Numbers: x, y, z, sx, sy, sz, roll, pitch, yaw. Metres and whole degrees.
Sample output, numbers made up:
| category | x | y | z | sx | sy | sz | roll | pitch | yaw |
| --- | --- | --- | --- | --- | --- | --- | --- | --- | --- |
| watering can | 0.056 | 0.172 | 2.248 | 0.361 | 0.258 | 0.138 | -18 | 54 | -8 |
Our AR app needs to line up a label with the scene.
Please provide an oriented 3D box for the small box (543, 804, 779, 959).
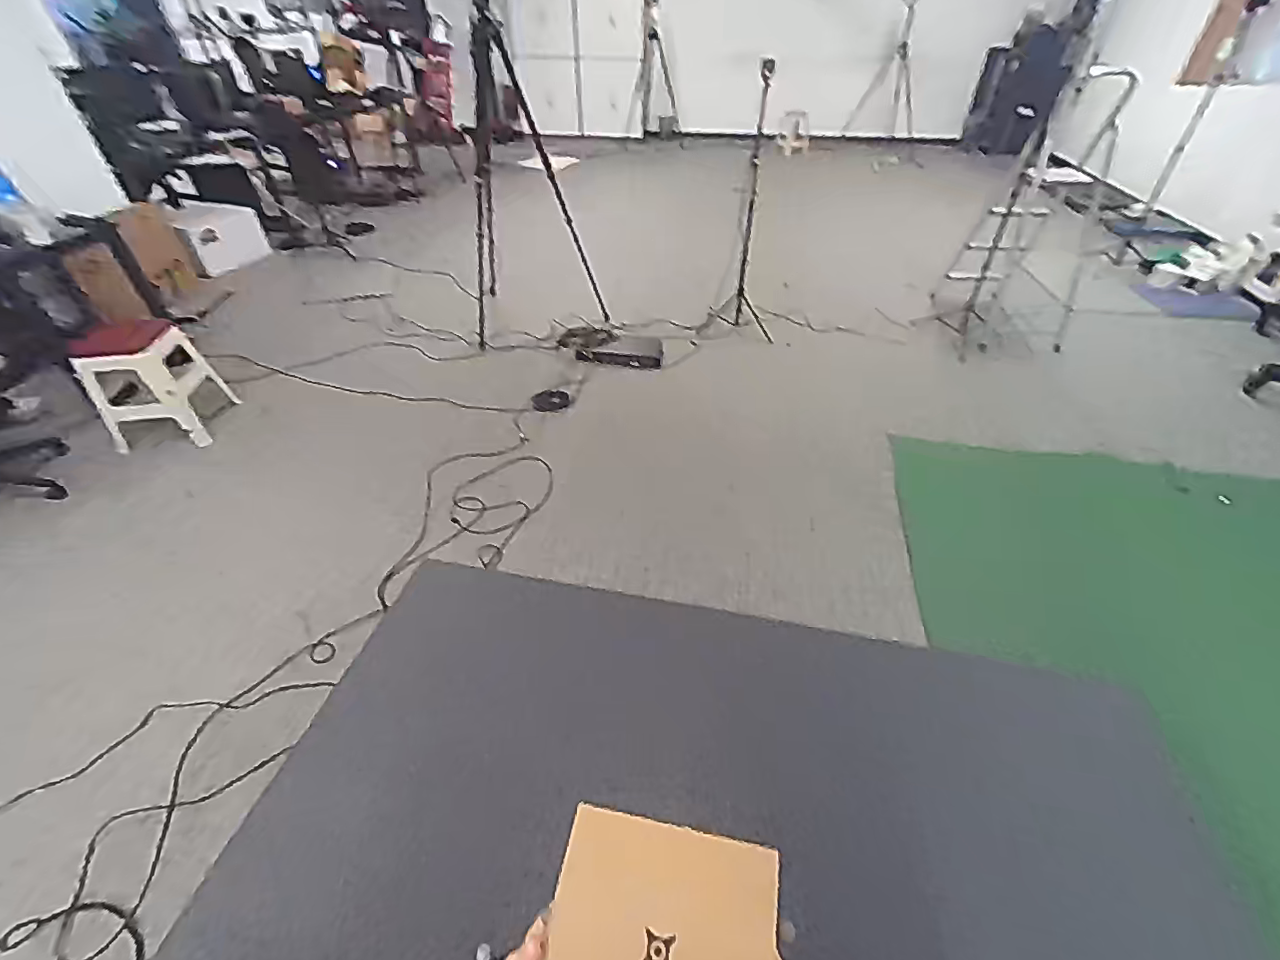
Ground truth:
| category | x | y | z | sx | sy | sz | roll | pitch | yaw |
| --- | --- | --- | --- | --- | --- | --- | --- | --- | --- |
| small box | 0.016 | 0.401 | 0.444 | 0.168 | 0.176 | 0.179 | 7 | 48 | 11 |
